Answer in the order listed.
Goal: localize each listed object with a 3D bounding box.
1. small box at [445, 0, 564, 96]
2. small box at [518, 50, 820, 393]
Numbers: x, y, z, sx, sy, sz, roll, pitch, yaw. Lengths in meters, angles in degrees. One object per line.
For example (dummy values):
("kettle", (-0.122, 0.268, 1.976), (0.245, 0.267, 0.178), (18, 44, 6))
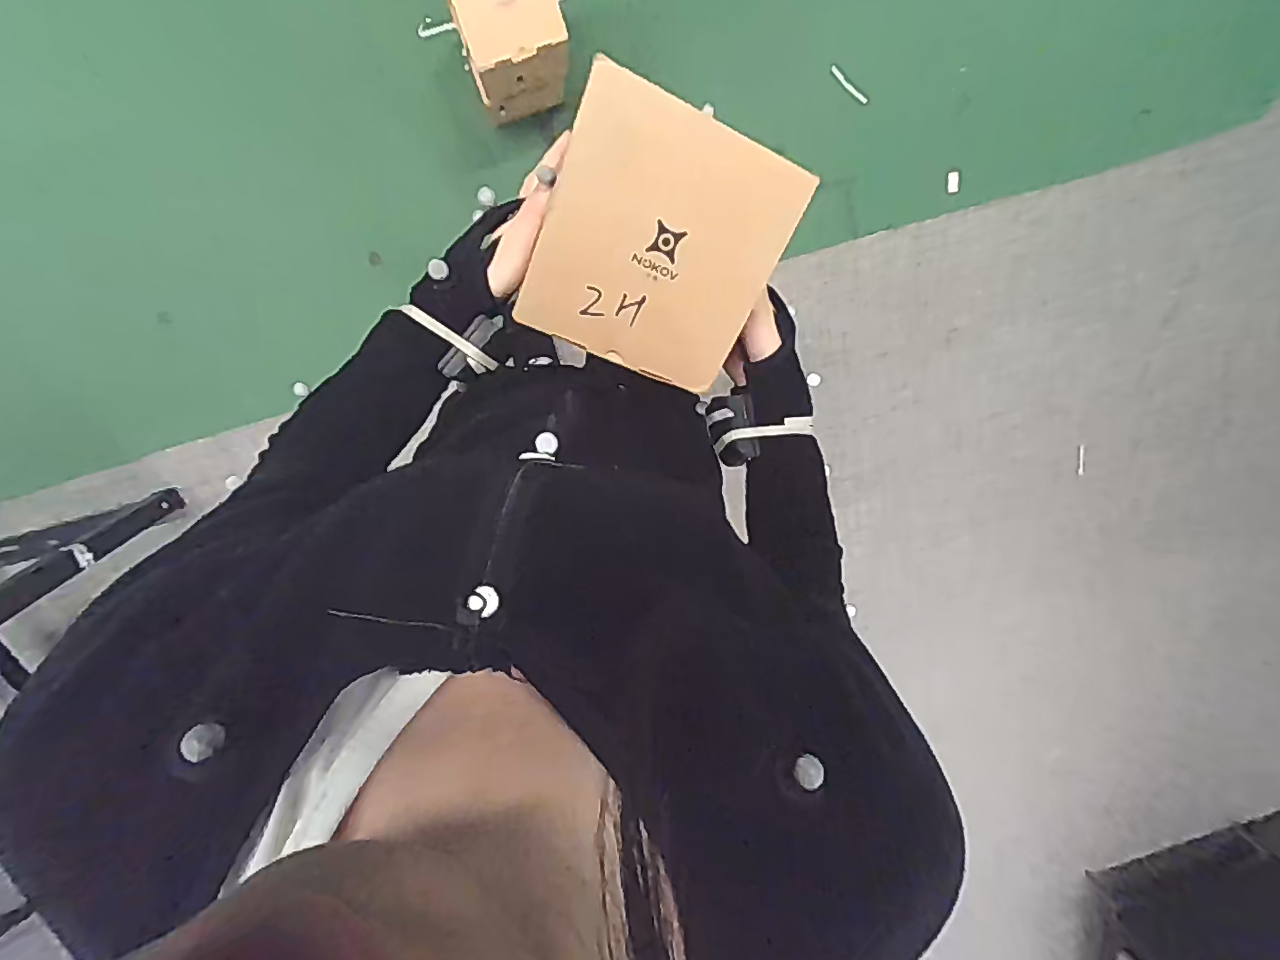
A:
("small box", (-0.242, -0.811, 0.935), (0.168, 0.176, 0.179), (-21, 114, -1))
("small box", (0.009, -0.206, 0.451), (0.168, 0.176, 0.179), (19, 117, -17))
